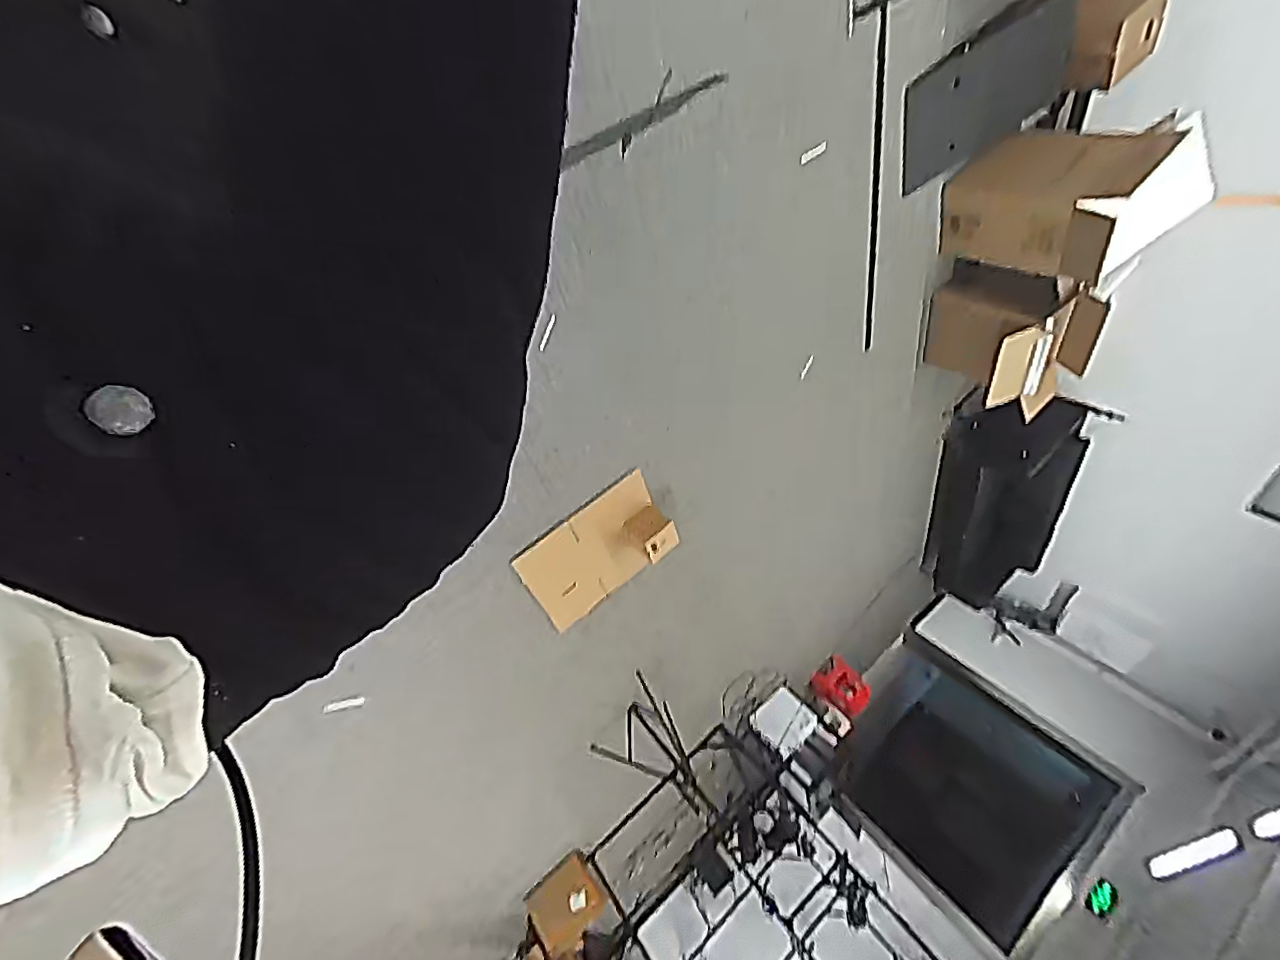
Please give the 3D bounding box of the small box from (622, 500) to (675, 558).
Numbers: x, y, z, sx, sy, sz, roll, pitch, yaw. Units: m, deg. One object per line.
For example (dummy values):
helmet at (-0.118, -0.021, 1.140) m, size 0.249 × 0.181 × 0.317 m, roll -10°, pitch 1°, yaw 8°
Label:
small box at (0.035, 0.229, 2.559) m, size 0.179 × 0.176 × 0.168 m, roll -38°, pitch 138°, yaw -18°
